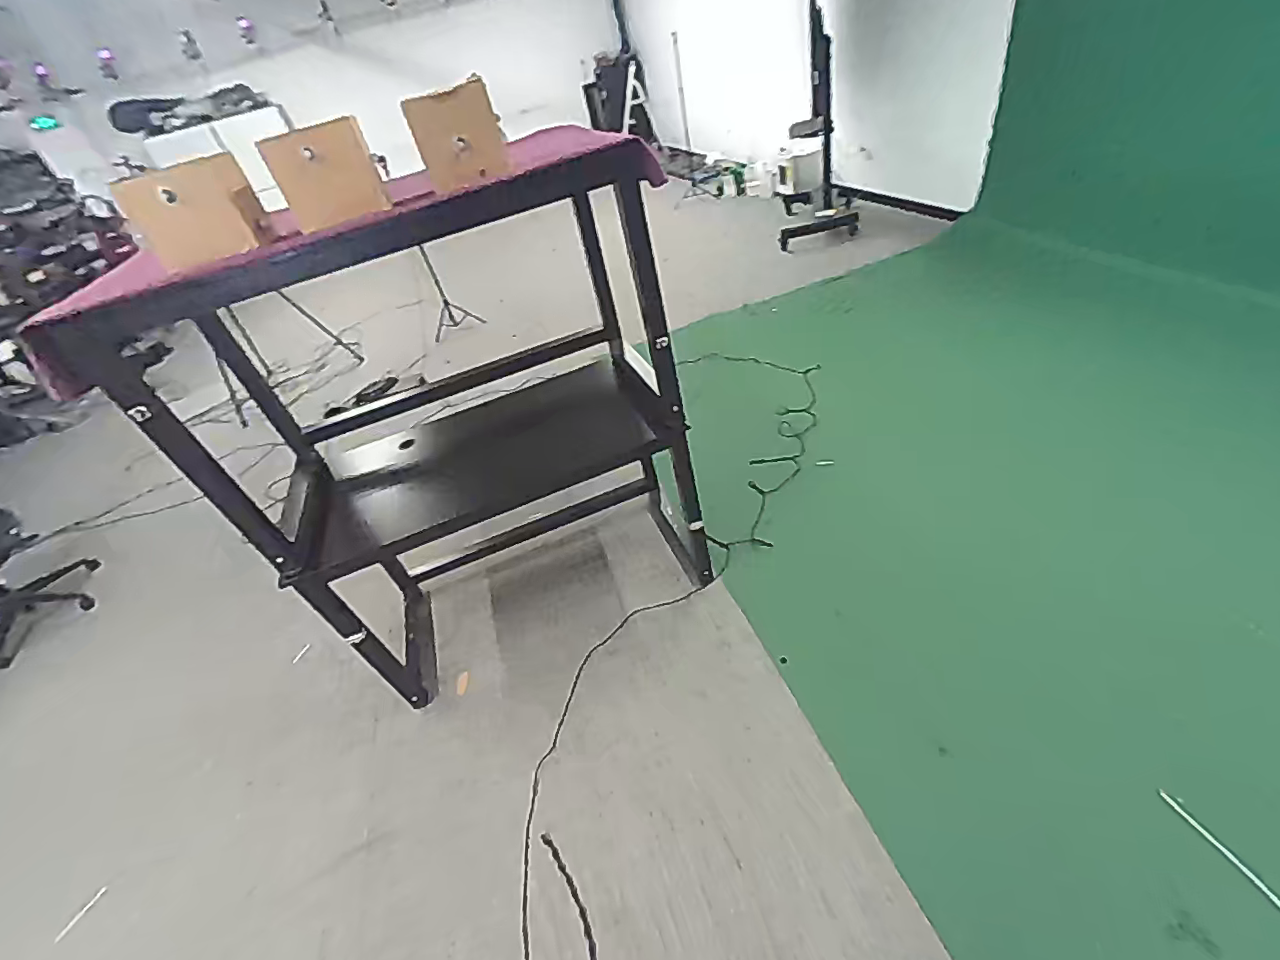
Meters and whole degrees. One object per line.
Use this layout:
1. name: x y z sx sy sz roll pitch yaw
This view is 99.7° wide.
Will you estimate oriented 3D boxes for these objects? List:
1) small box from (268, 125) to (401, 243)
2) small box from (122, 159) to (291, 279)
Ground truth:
1. small box: -0.612 -0.610 1.112 0.179 0.176 0.168 -23 37 -8
2. small box: -0.847 -0.519 1.079 0.179 0.176 0.168 -19 38 -6
